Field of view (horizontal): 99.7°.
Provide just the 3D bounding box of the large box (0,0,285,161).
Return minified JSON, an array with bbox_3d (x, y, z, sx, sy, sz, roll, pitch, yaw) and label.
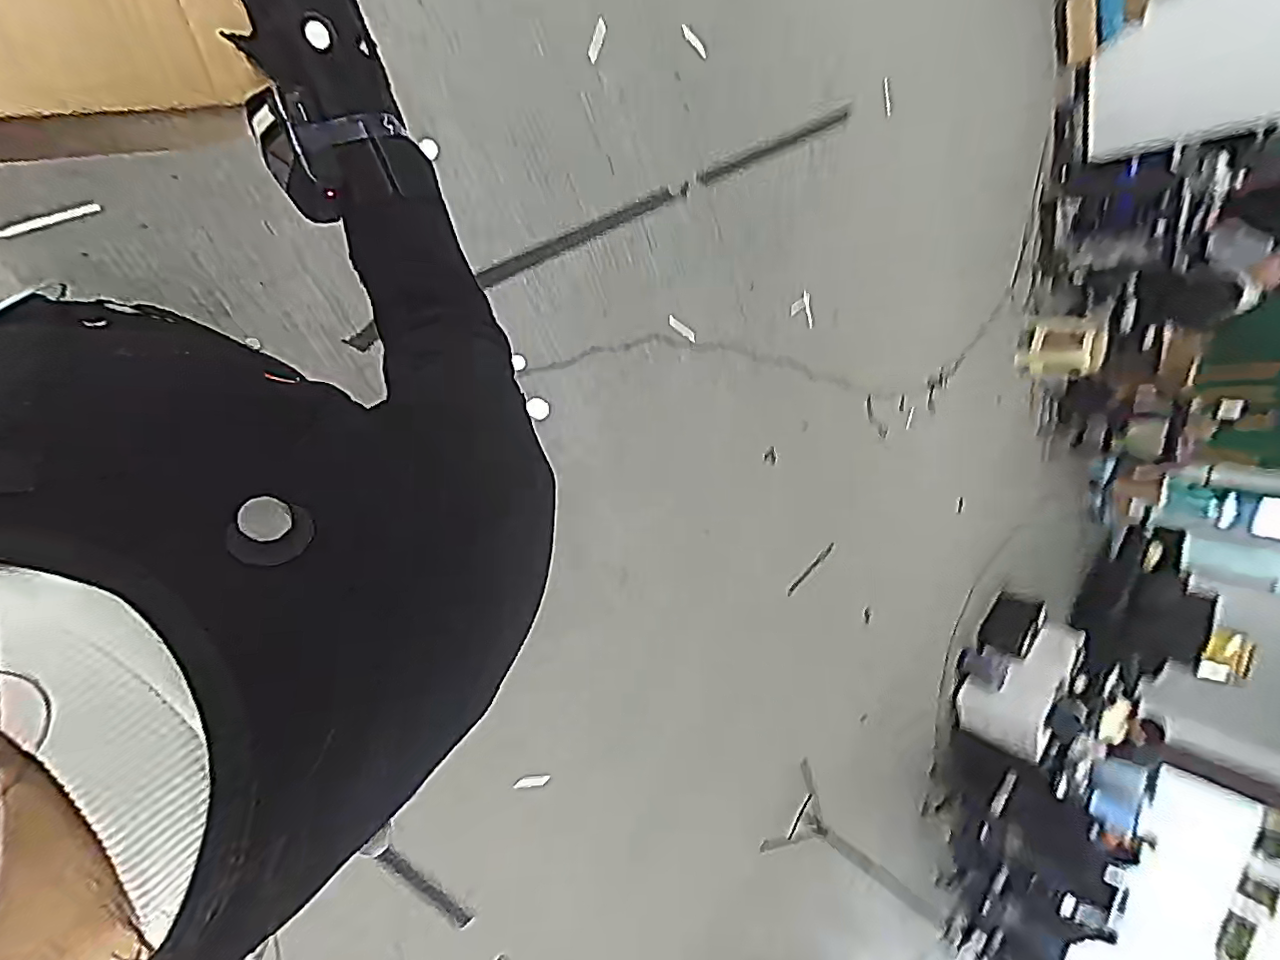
[{"bbox_3d":[-0.497,-0.352,0.286,0.408,0.320,0.320,-28,128,-31],"label":"large box"}]
